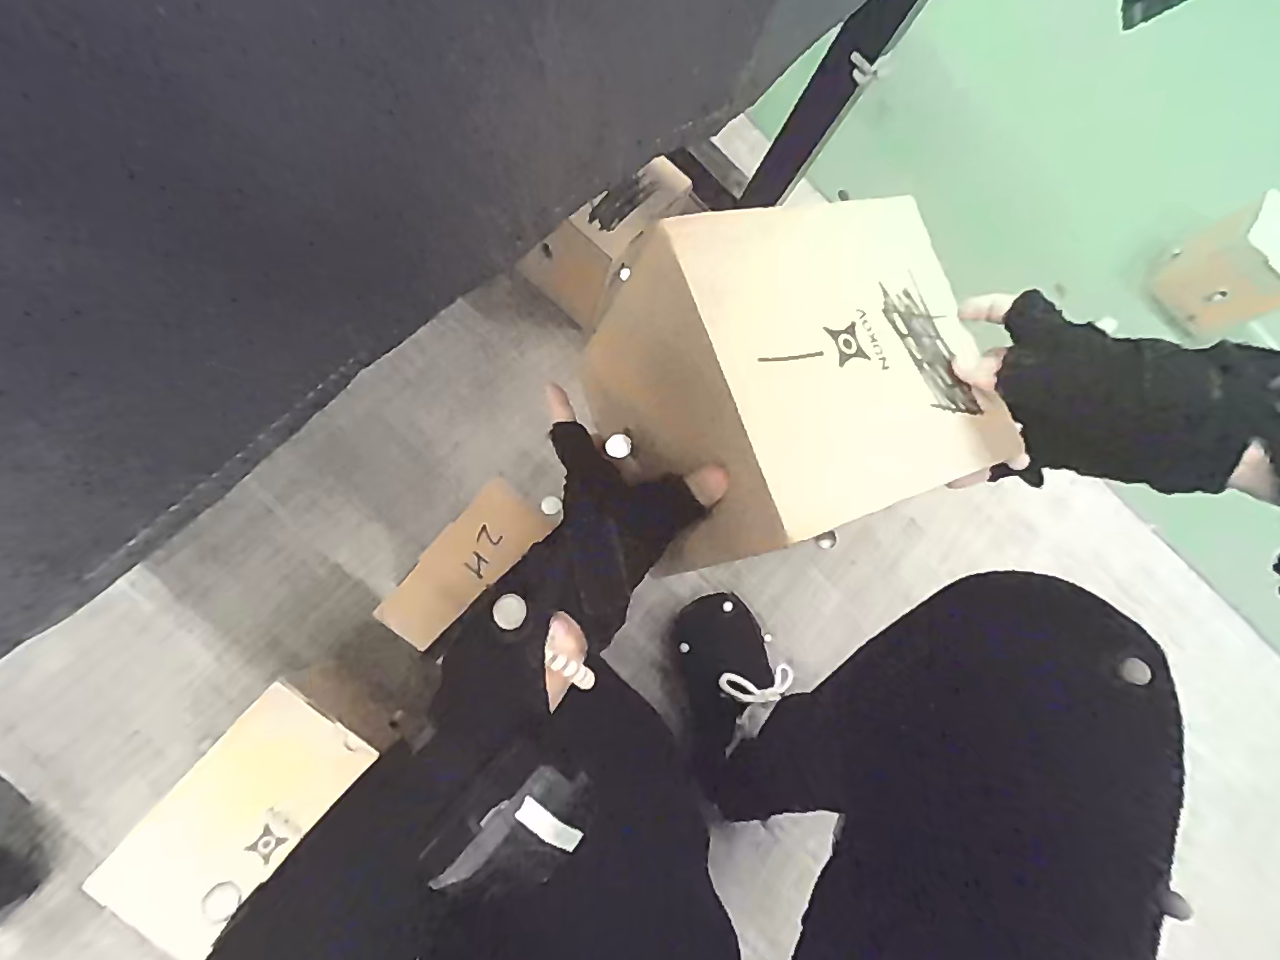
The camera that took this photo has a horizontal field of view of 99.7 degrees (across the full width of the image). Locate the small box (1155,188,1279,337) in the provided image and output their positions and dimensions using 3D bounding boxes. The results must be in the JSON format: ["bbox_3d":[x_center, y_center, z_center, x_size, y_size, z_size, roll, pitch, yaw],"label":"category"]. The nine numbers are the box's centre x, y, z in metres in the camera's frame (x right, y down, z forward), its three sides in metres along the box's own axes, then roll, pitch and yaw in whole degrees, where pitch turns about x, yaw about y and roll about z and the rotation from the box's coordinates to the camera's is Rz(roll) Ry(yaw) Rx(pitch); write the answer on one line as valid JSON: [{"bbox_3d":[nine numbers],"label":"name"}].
[{"bbox_3d":[1.177,-0.416,1.060,0.168,0.176,0.179,43,71,-2],"label":"small box"}]
